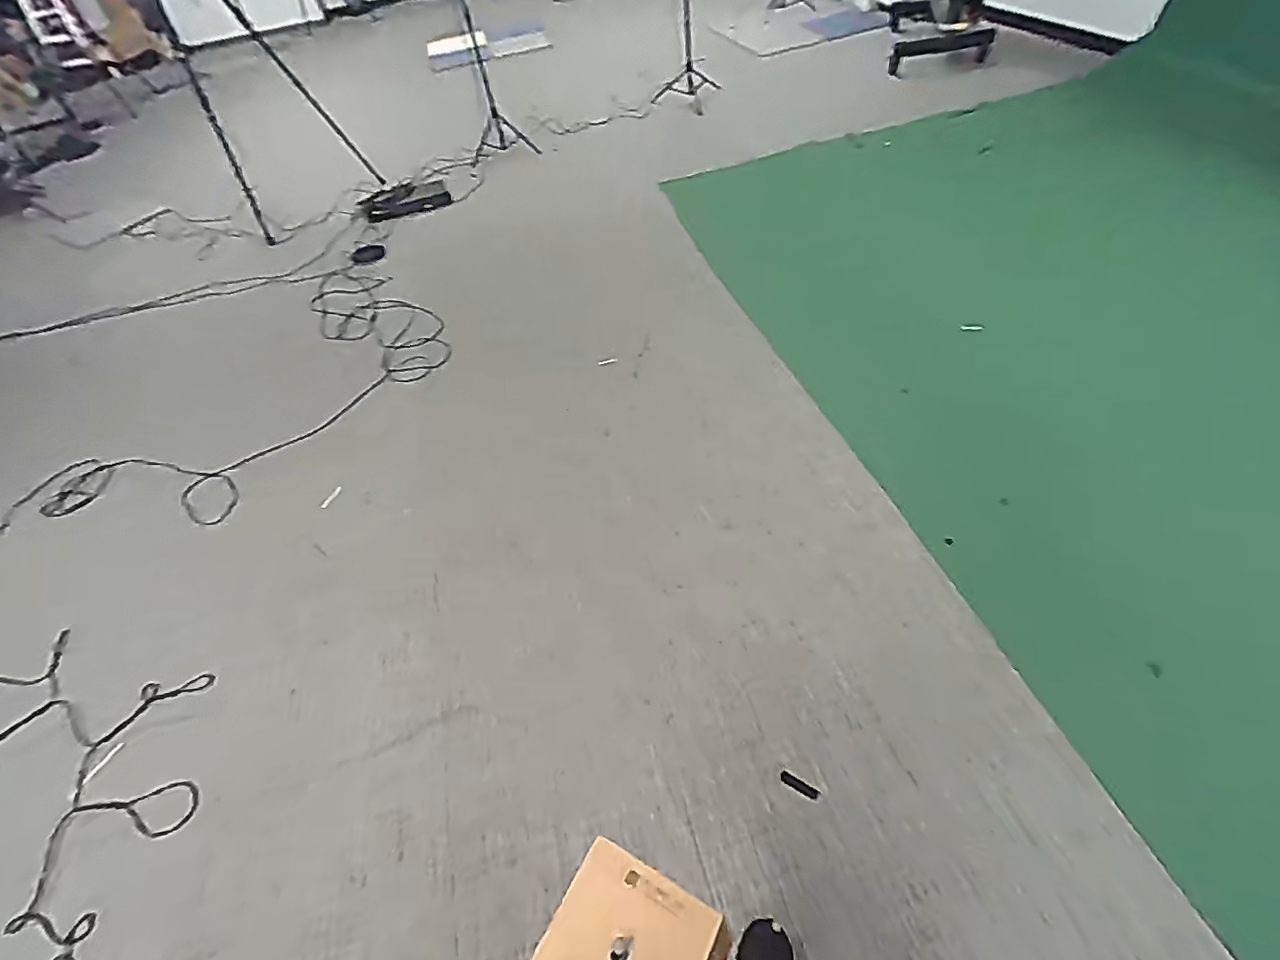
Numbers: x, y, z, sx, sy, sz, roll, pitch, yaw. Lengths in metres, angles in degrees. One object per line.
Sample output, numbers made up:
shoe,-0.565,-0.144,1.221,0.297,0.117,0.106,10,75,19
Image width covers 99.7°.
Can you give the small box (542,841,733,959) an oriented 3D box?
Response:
small box,-0.003,0.551,0.620,0.168,0.179,0.176,14,52,27
